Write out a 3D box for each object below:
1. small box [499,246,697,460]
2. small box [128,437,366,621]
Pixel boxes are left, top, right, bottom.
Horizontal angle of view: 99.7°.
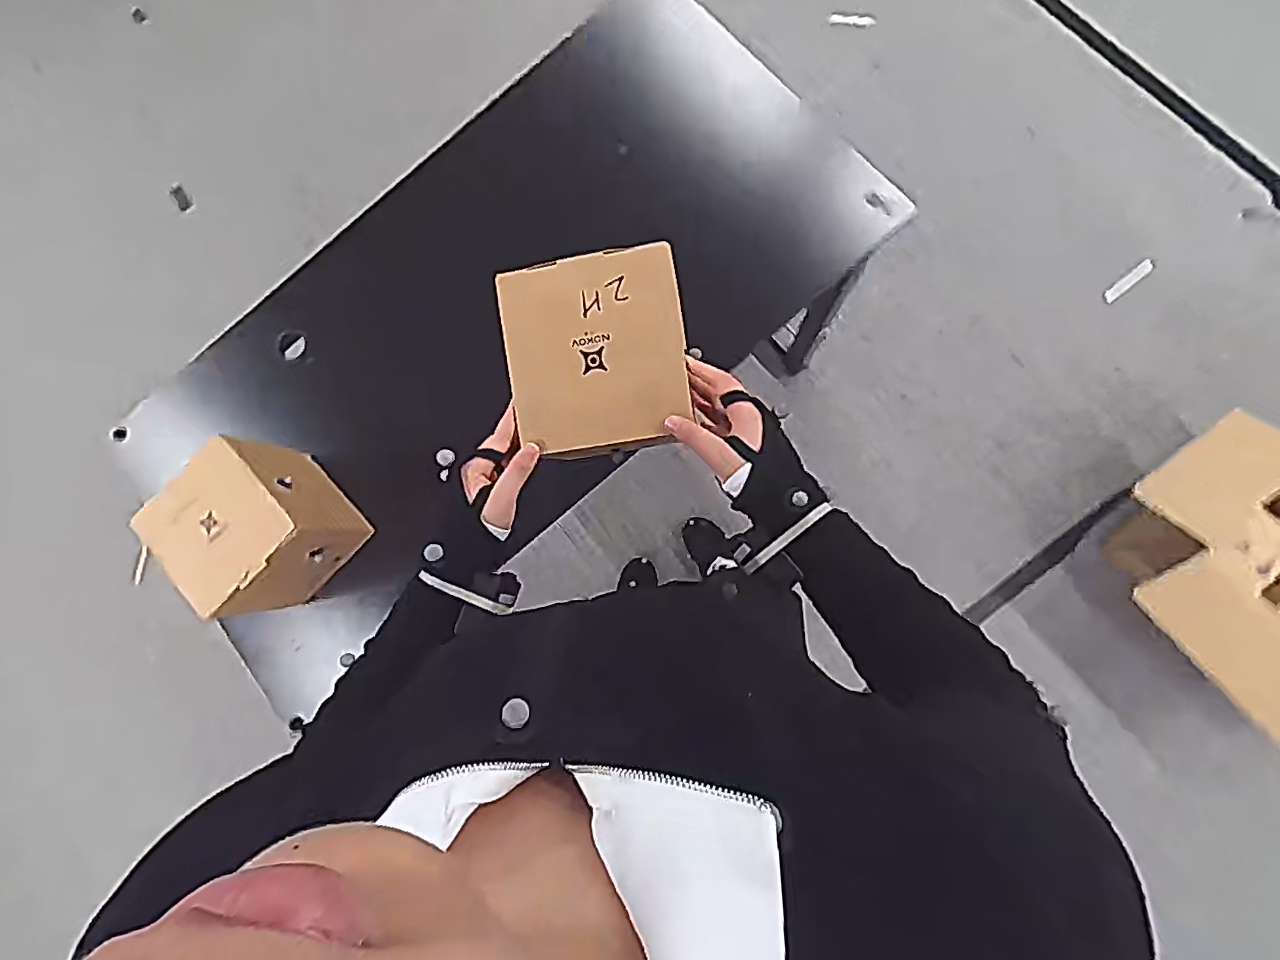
[{"bbox_3d":[-0.031,-0.118,0.574,0.168,0.176,0.179,-8,90,7],"label":"small box"},{"bbox_3d":[-0.532,0.068,0.759,0.179,0.176,0.168,44,88,10],"label":"small box"}]
